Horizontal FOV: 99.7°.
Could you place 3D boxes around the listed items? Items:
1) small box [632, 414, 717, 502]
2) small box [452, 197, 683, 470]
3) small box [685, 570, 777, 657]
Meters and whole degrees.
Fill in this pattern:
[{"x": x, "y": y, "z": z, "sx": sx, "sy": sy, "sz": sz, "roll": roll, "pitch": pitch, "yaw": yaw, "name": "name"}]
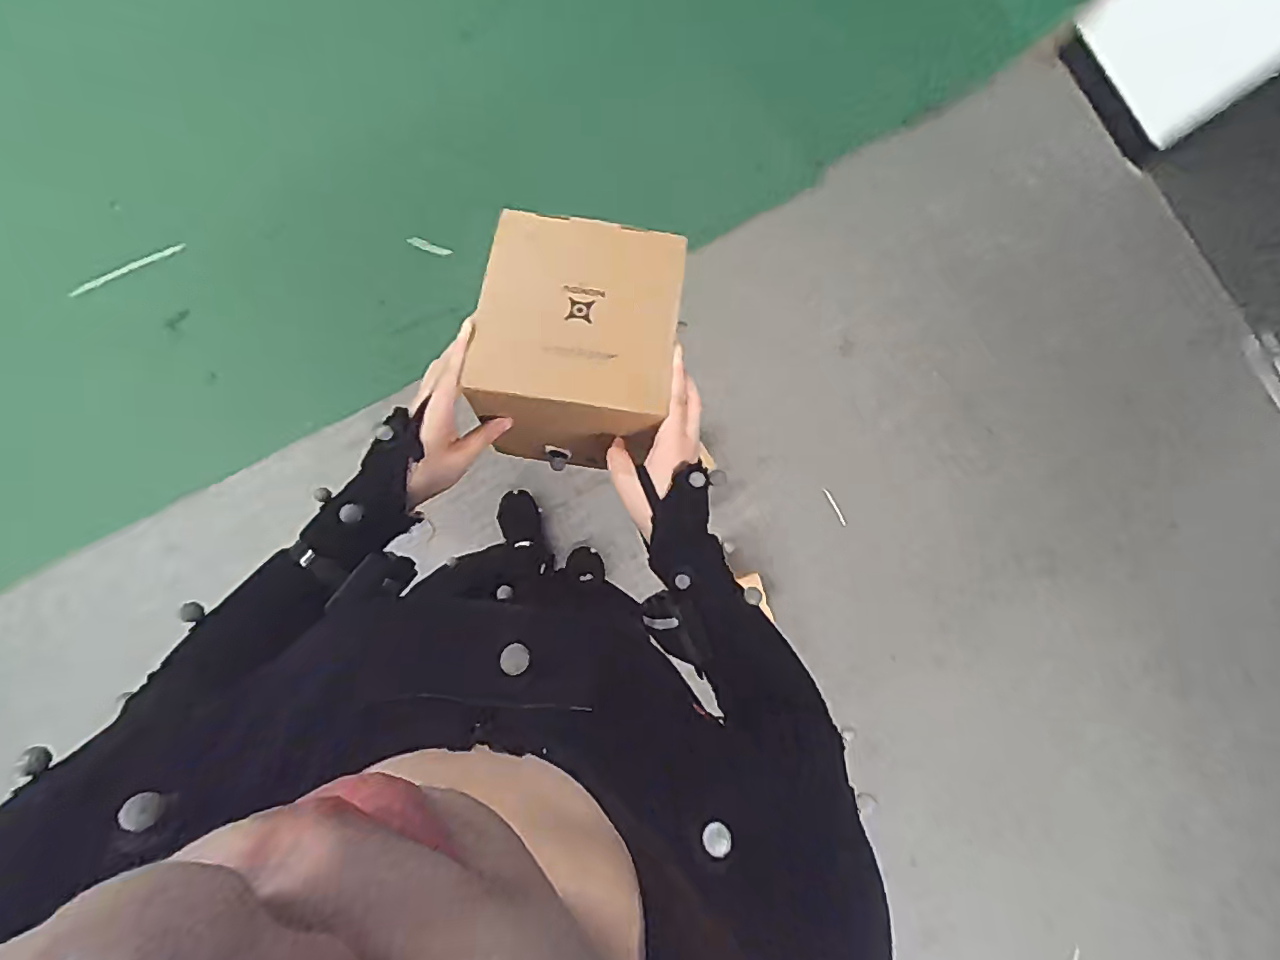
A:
[{"x": 0.078, "y": -0.053, "z": 1.457, "sx": 0.179, "sy": 0.176, "sz": 0.168, "roll": -32, "pitch": 87, "yaw": -6, "name": "small box"}, {"x": -0.061, "y": -0.125, "z": 0.514, "sx": 0.168, "sy": 0.176, "sz": 0.179, "roll": 8, "pitch": 74, "yaw": -3, "name": "small box"}, {"x": 0.235, "y": 0.344, "z": 1.433, "sx": 0.179, "sy": 0.176, "sz": 0.168, "roll": -18, "pitch": 86, "yaw": -5, "name": "small box"}]
